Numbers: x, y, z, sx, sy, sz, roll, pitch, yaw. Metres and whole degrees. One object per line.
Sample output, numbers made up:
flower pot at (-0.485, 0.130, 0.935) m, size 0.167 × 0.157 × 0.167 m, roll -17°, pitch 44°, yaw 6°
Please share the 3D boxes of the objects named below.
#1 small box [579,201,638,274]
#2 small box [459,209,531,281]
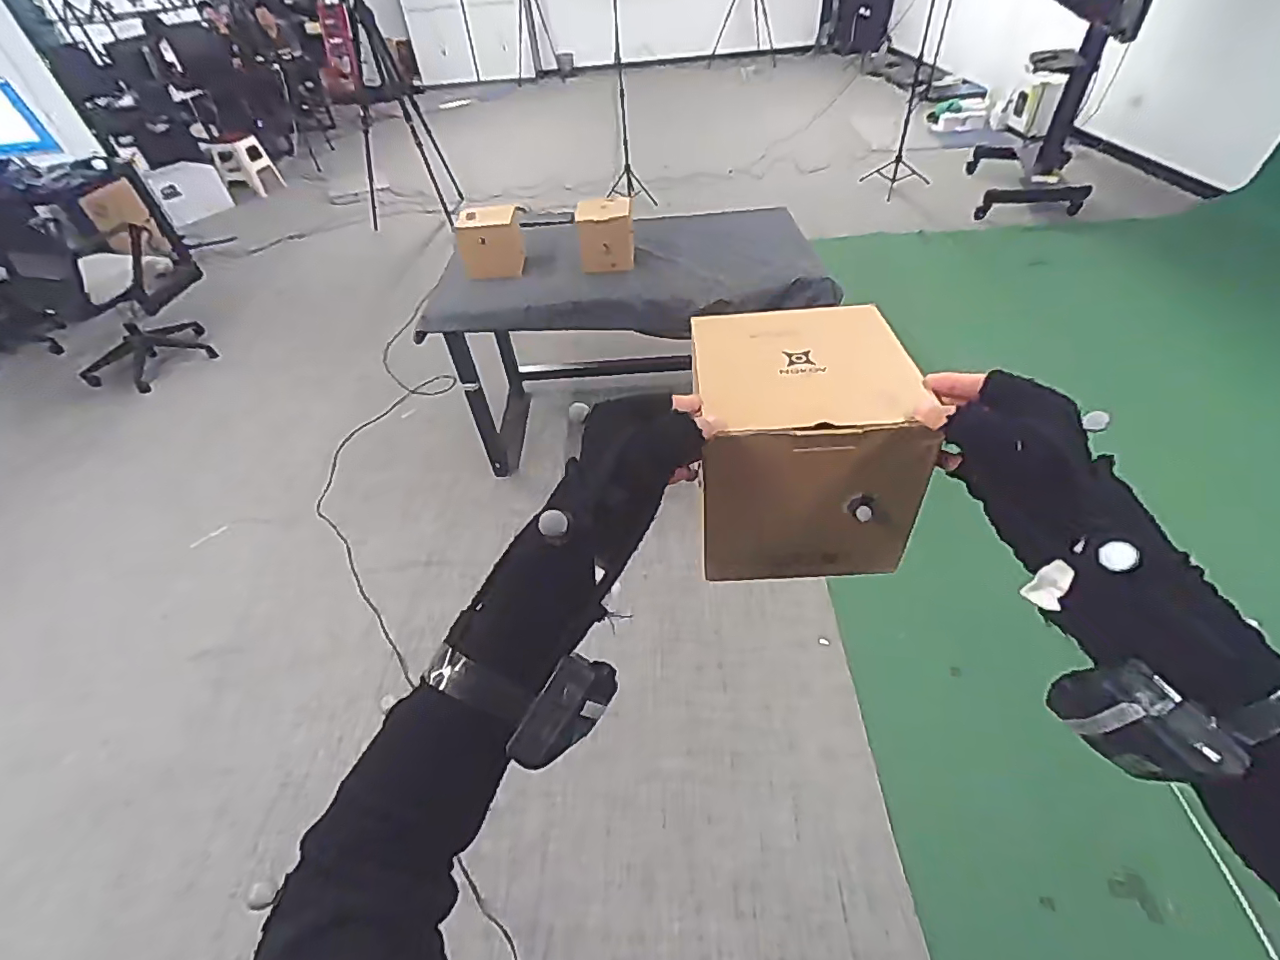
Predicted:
small box at (-0.095, -0.773, 1.734) m, size 0.168 × 0.176 × 0.179 m, roll -2°, pitch 45°, yaw 4°
small box at (-0.464, -0.760, 1.757) m, size 0.179 × 0.176 × 0.168 m, roll -5°, pitch 45°, yaw 0°
